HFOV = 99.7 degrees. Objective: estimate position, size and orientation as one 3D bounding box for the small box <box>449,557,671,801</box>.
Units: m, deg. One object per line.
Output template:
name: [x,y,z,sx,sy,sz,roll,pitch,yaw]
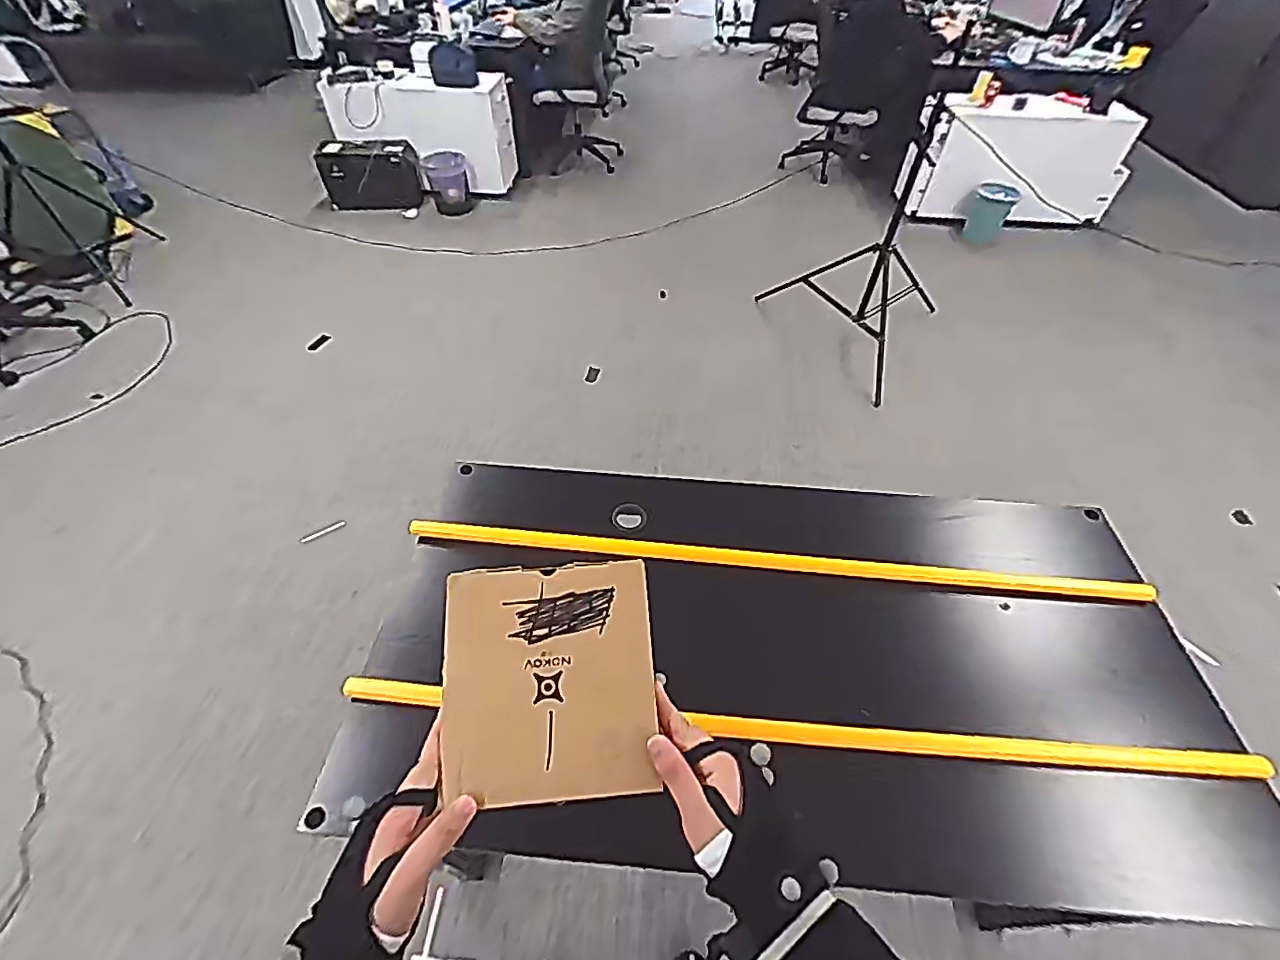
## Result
small box: [-0.067,0.180,0.502,0.168,0.176,0.179,-3,68,-3]
